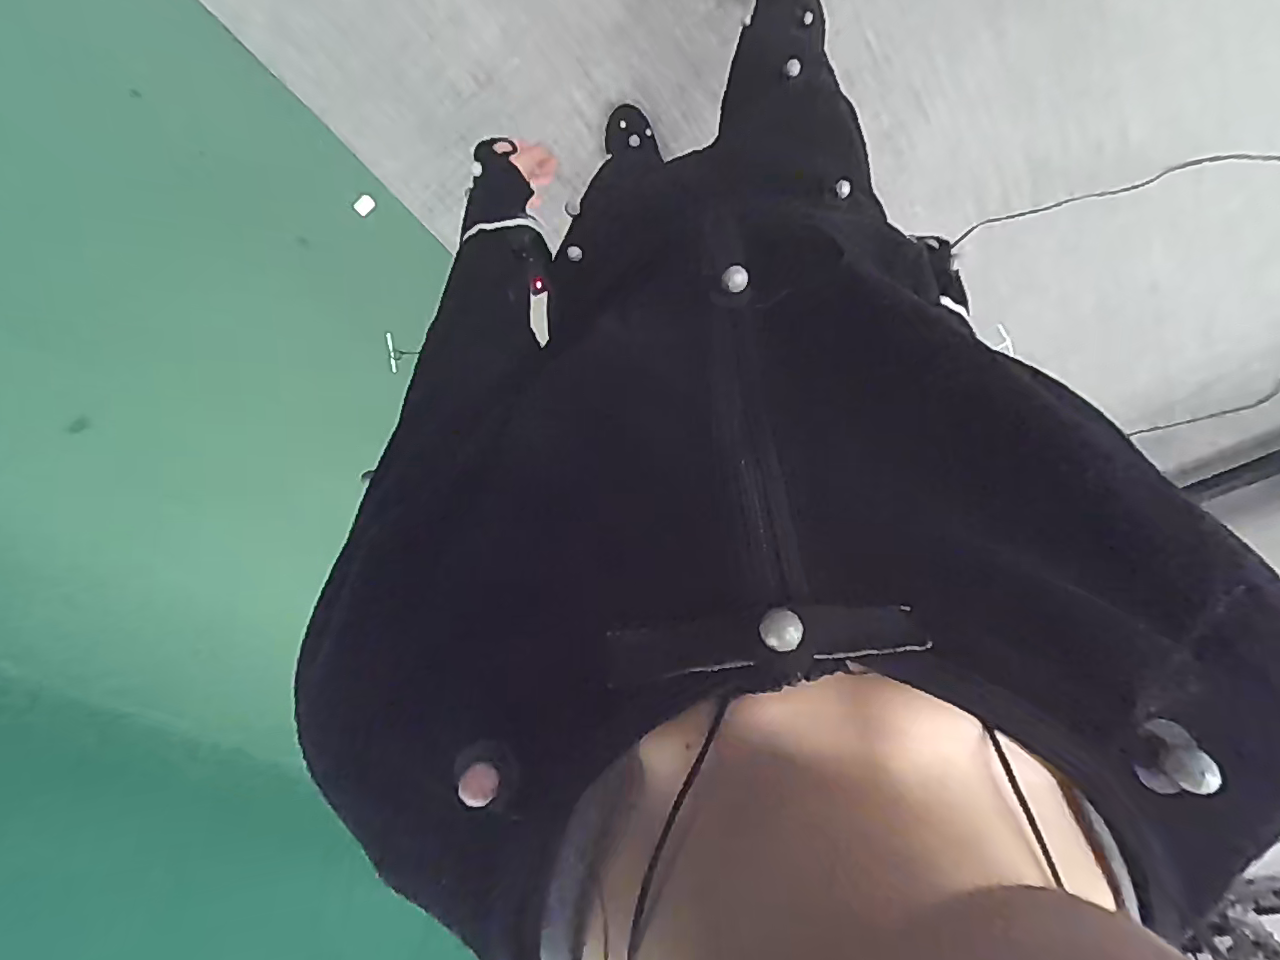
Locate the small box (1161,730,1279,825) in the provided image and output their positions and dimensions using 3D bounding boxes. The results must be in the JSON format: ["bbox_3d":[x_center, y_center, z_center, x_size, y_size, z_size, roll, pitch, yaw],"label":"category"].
[{"bbox_3d":[1.579,0.801,1.462,0.179,0.176,0.168,-34,124,25],"label":"small box"}]
